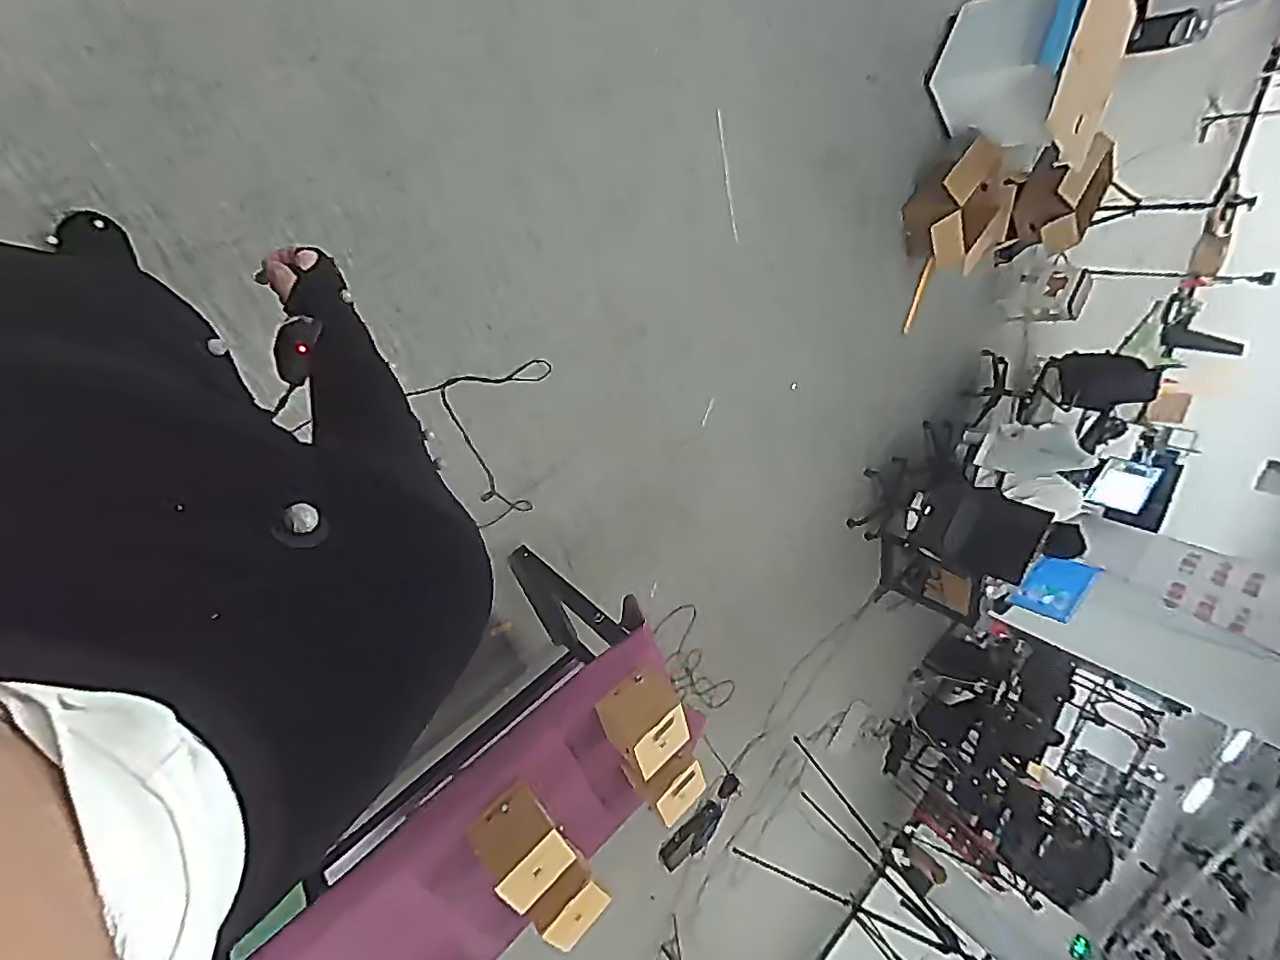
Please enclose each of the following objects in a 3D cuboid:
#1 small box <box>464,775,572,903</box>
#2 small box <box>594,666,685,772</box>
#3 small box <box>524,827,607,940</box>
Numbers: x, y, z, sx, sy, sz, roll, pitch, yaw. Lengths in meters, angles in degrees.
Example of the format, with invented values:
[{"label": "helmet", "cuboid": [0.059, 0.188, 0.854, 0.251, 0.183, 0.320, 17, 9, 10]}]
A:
[{"label": "small box", "cuboid": [-0.295, 0.861, 1.309, 0.168, 0.176, 0.179, -36, 131, -26]}, {"label": "small box", "cuboid": [-0.003, 0.637, 1.467, 0.168, 0.176, 0.179, -33, 131, -26]}, {"label": "small box", "cuboid": [-0.225, 1.105, 1.491, 0.168, 0.176, 0.179, -39, 130, -22]}]
